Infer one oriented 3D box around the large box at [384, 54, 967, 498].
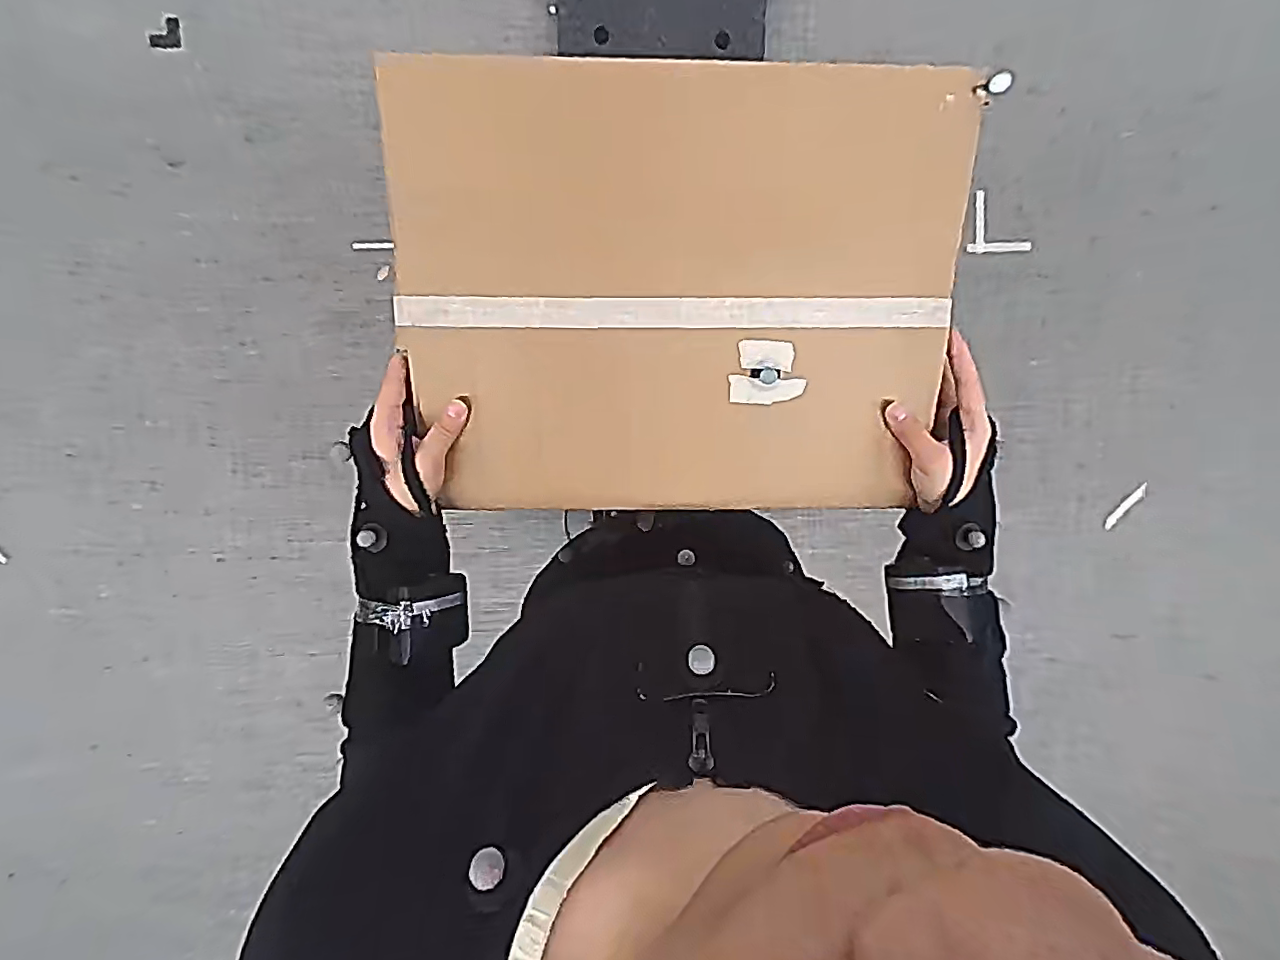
[{"bbox_3d":[0.021,-0.178,0.547,0.408,0.320,0.320,0,108,-2],"label":"large box"}]
